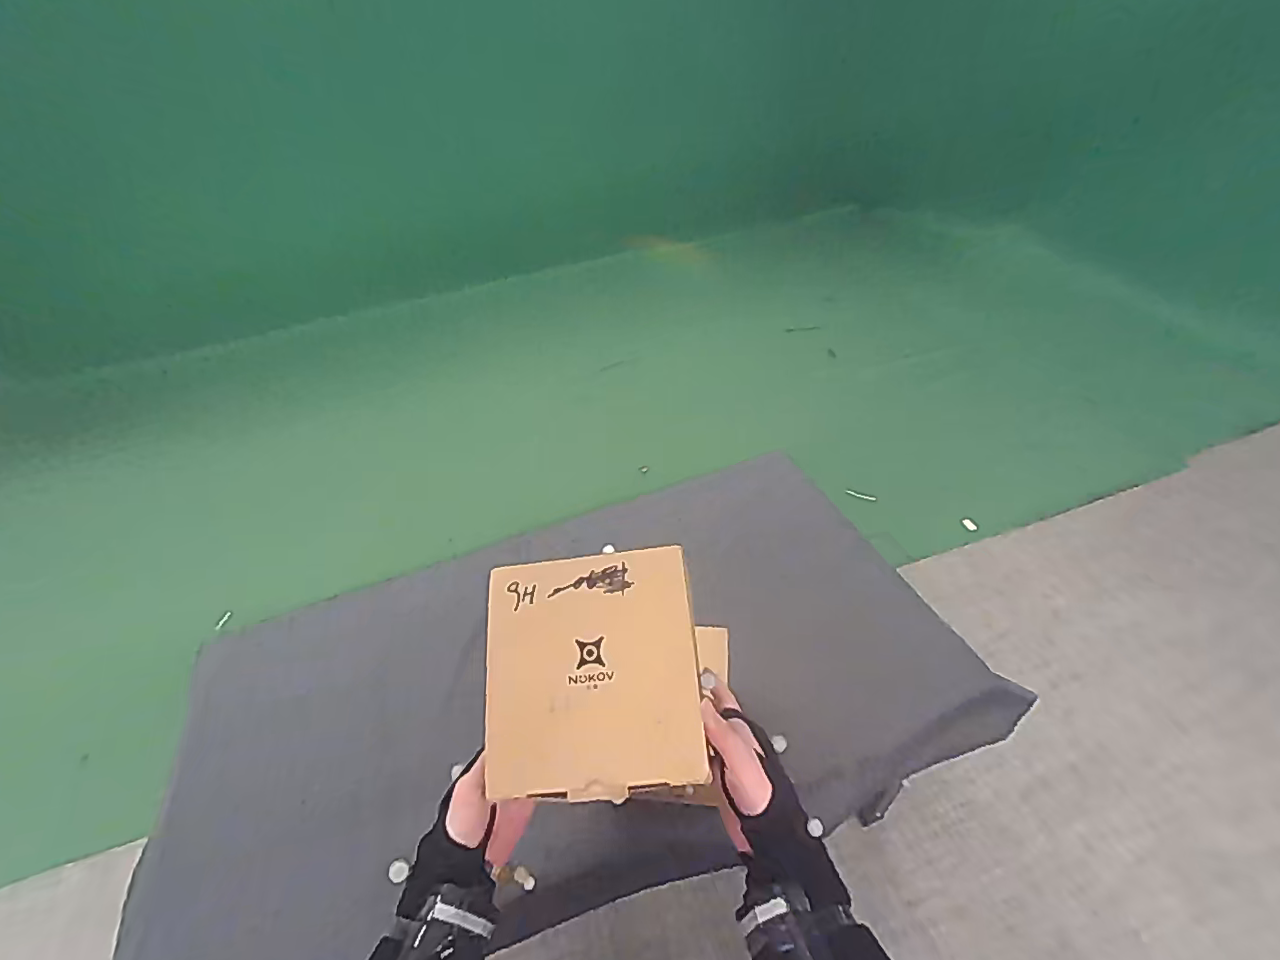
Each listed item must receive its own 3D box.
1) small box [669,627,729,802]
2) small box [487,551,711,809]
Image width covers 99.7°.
[{"bbox_3d":[0.039,0.321,0.747,0.168,0.176,0.179,1,42,8],"label":"small box"},{"bbox_3d":[-0.028,0.177,0.489,0.168,0.176,0.179,-8,67,4],"label":"small box"}]
